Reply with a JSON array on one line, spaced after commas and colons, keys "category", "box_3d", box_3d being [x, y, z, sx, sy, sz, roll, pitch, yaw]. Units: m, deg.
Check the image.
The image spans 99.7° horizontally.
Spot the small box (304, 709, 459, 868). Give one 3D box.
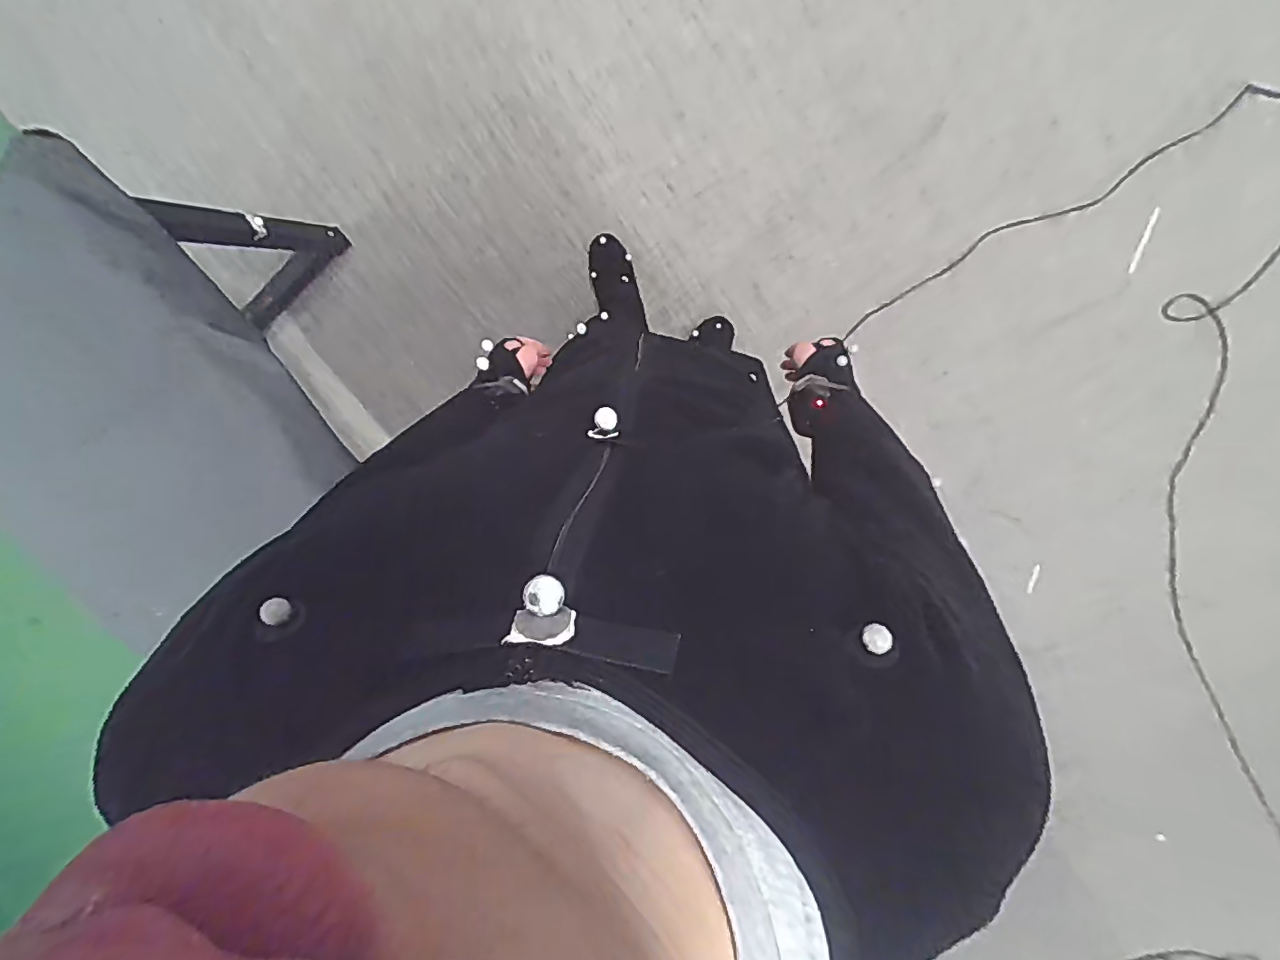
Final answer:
[{"category": "small box", "box_3d": [-0.470, 0.571, 1.018, 0.179, 0.176, 0.168, -36, 101, 17]}]
